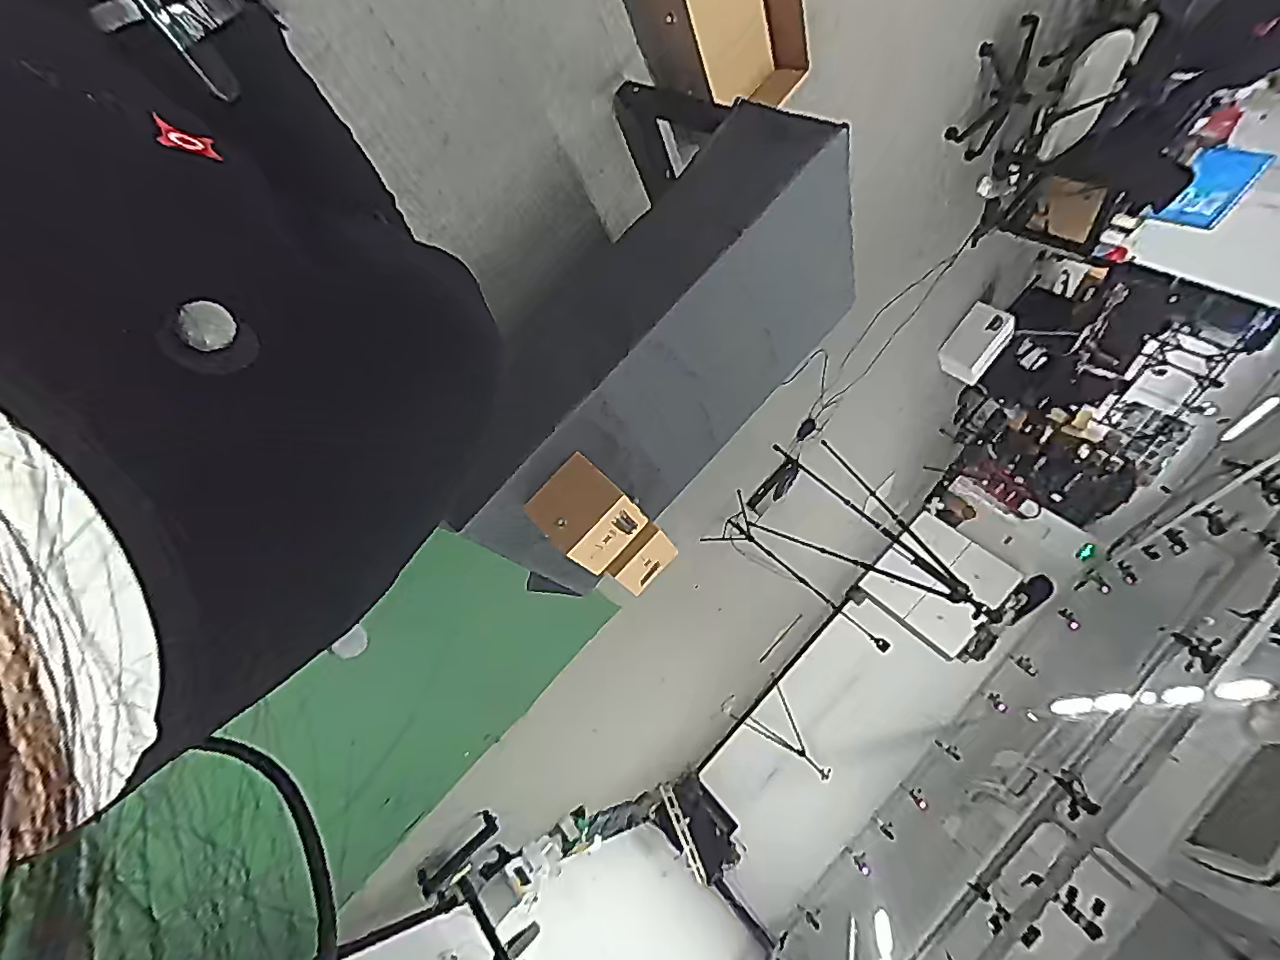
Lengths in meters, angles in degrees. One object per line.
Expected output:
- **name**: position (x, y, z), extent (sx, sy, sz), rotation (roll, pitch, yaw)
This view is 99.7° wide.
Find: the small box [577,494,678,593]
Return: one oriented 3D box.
- **small box**: position (-0.032, 0.163, 1.418), extent (0.168, 0.176, 0.179), rotation (-46, 148, -6)
